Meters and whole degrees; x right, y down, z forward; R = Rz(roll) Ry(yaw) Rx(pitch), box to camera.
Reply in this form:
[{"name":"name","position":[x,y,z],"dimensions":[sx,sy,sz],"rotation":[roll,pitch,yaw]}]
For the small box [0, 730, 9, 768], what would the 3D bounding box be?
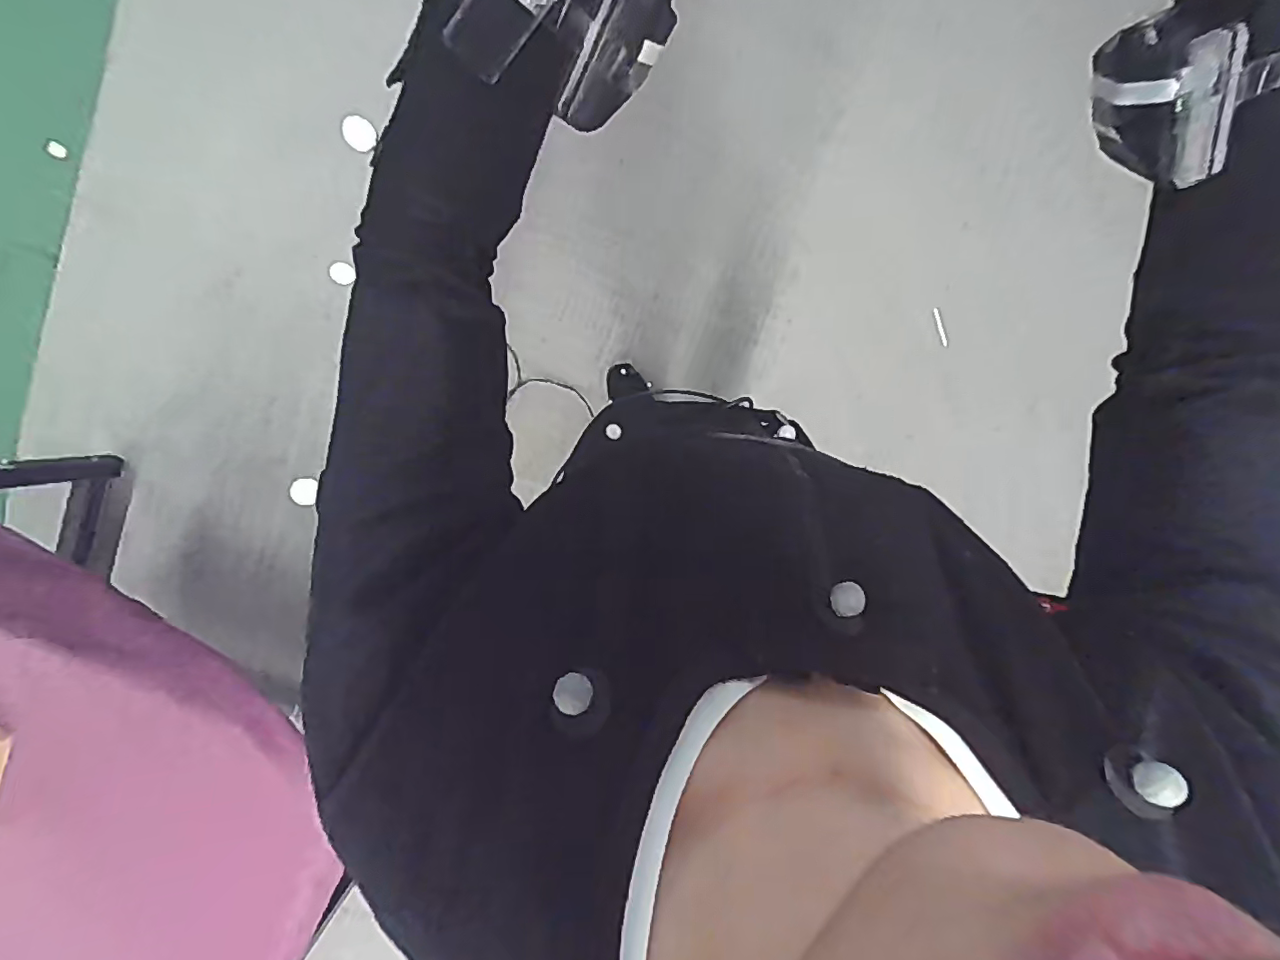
[{"name":"small box","position":[-1.082,0.432,0.771],"dimensions":[0.168,0.176,0.179],"rotation":[24,98,0]}]
